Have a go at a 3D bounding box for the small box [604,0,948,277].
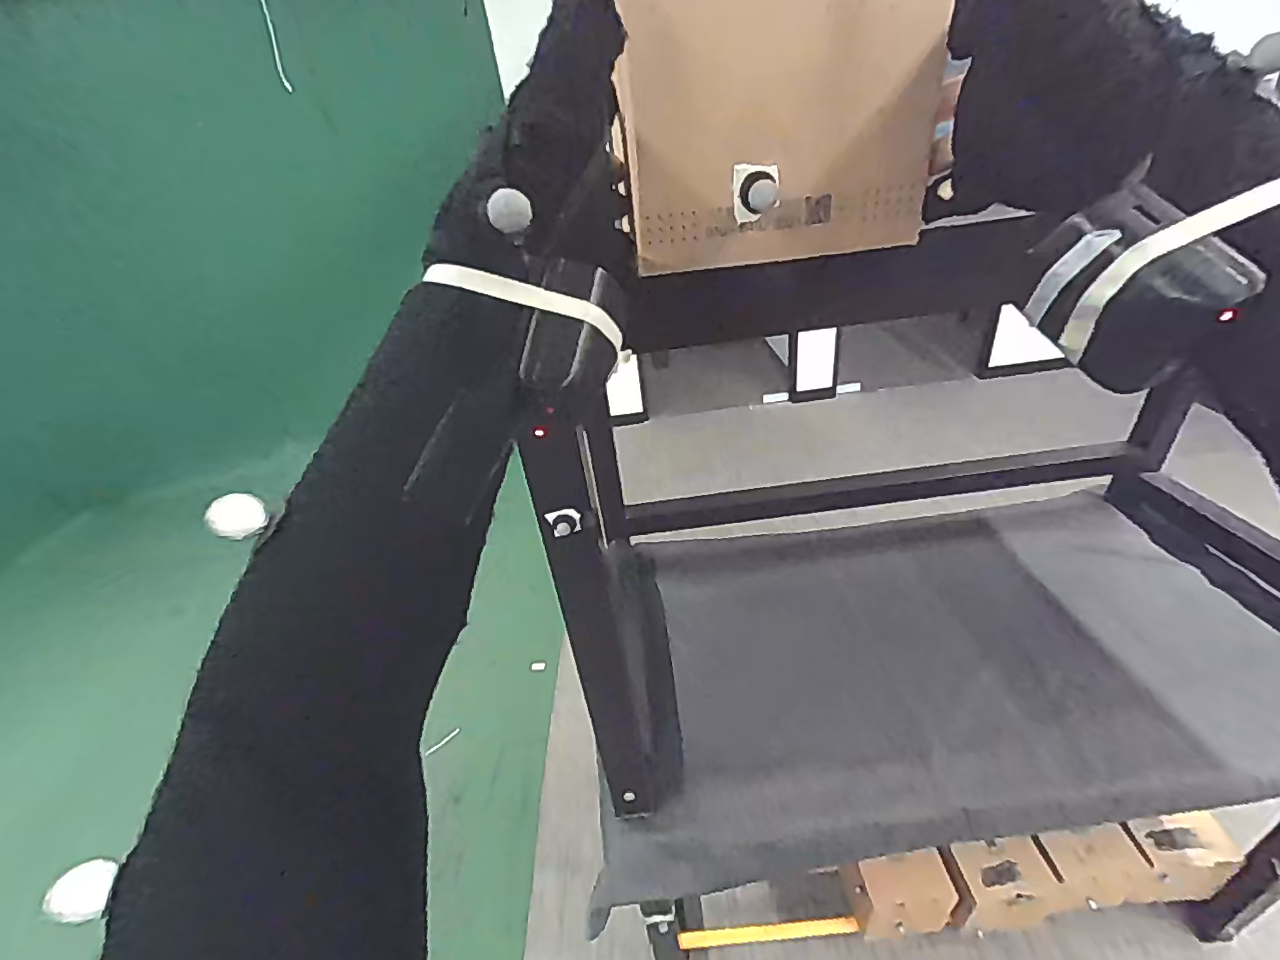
[{"bbox_3d":[0.066,-0.239,0.349,0.168,0.176,0.179,-8,33,1],"label":"small box"}]
